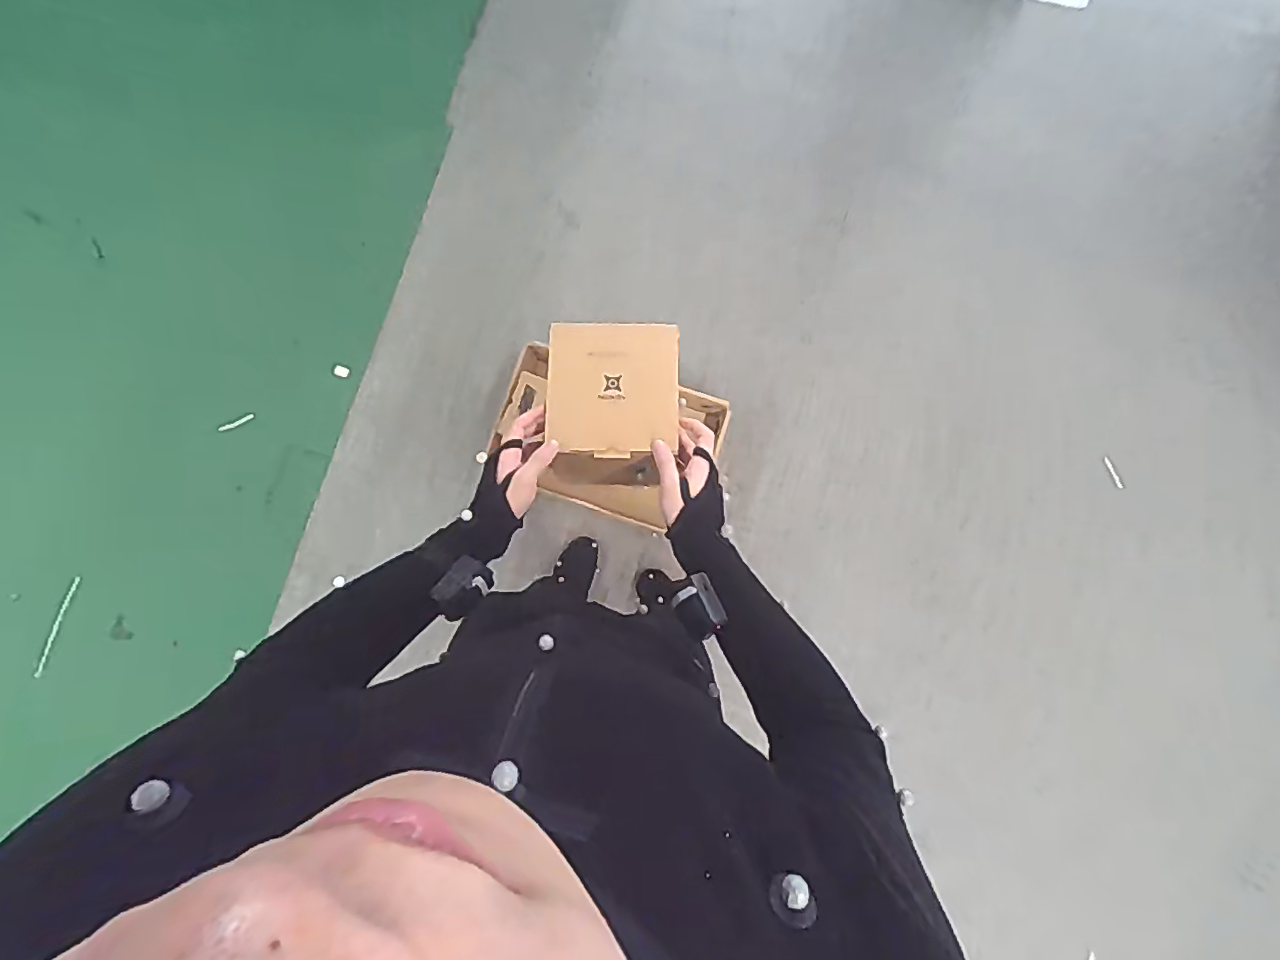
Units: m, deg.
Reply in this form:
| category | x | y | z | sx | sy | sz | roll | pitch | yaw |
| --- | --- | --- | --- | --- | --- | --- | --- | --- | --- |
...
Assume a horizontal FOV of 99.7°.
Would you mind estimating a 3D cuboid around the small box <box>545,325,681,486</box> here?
| category | x | y | z | sx | sy | sz | roll | pitch | yaw |
| --- | --- | --- | --- | --- | --- | --- | --- | --- | --- |
| small box | -0.032 | -0.091 | 0.742 | 0.168 | 0.176 | 0.179 | 1 | 76 | -1 |

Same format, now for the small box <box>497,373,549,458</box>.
| category | x | y | z | sx | sy | sz | roll | pitch | yaw |
| --- | --- | --- | --- | --- | --- | --- | --- | --- | --- |
| small box | -0.234 | -0.147 | 1.382 | 0.179 | 0.176 | 0.168 | 22 | 85 | 4 |

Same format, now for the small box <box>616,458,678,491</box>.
| category | x | y | z | sx | sy | sz | roll | pitch | yaw |
| --- | --- | --- | --- | --- | --- | --- | --- | --- | --- |
| small box | 0.024 | -0.065 | 1.527 | 0.168 | 0.176 | 0.179 | 3 | 84 | 3 |
